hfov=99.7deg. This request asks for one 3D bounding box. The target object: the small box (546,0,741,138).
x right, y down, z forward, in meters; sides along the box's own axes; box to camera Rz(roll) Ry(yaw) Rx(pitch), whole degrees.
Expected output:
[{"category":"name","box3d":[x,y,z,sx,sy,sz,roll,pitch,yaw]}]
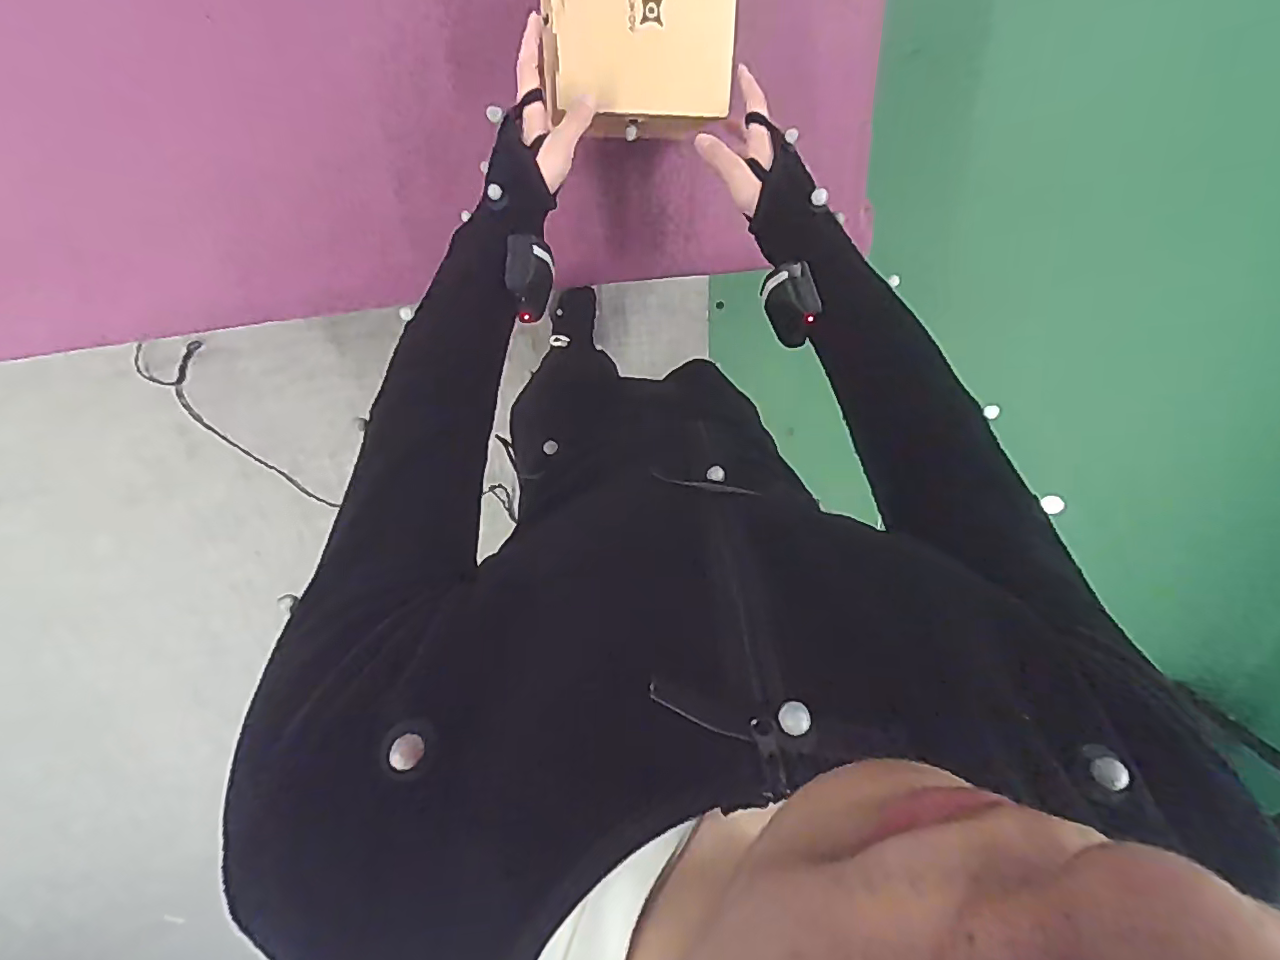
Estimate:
[{"category":"small box","box3d":[-0.005,-0.469,0.572,0.179,0.176,0.168,-4,117,-10]}]

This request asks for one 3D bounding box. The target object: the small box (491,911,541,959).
[{"category":"small box","box3d":[-0.432,1.634,1.868,0.179,0.176,0.168,-3,116,-11]}]
